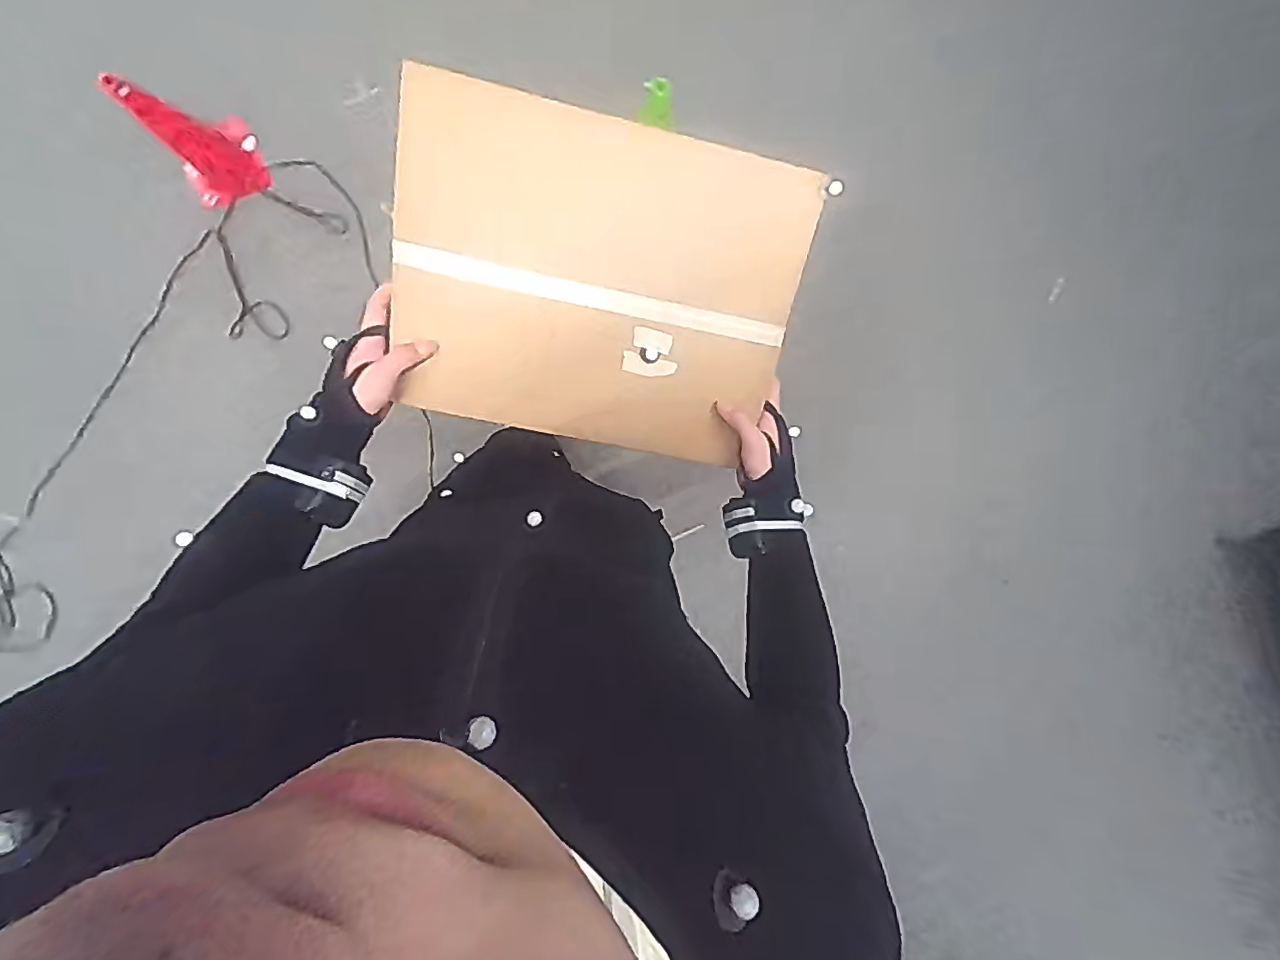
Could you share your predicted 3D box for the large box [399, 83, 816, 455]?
[{"bbox_3d":[-0.056,-0.249,0.701,0.408,0.320,0.320,9,112,-7],"label":"large box"}]
